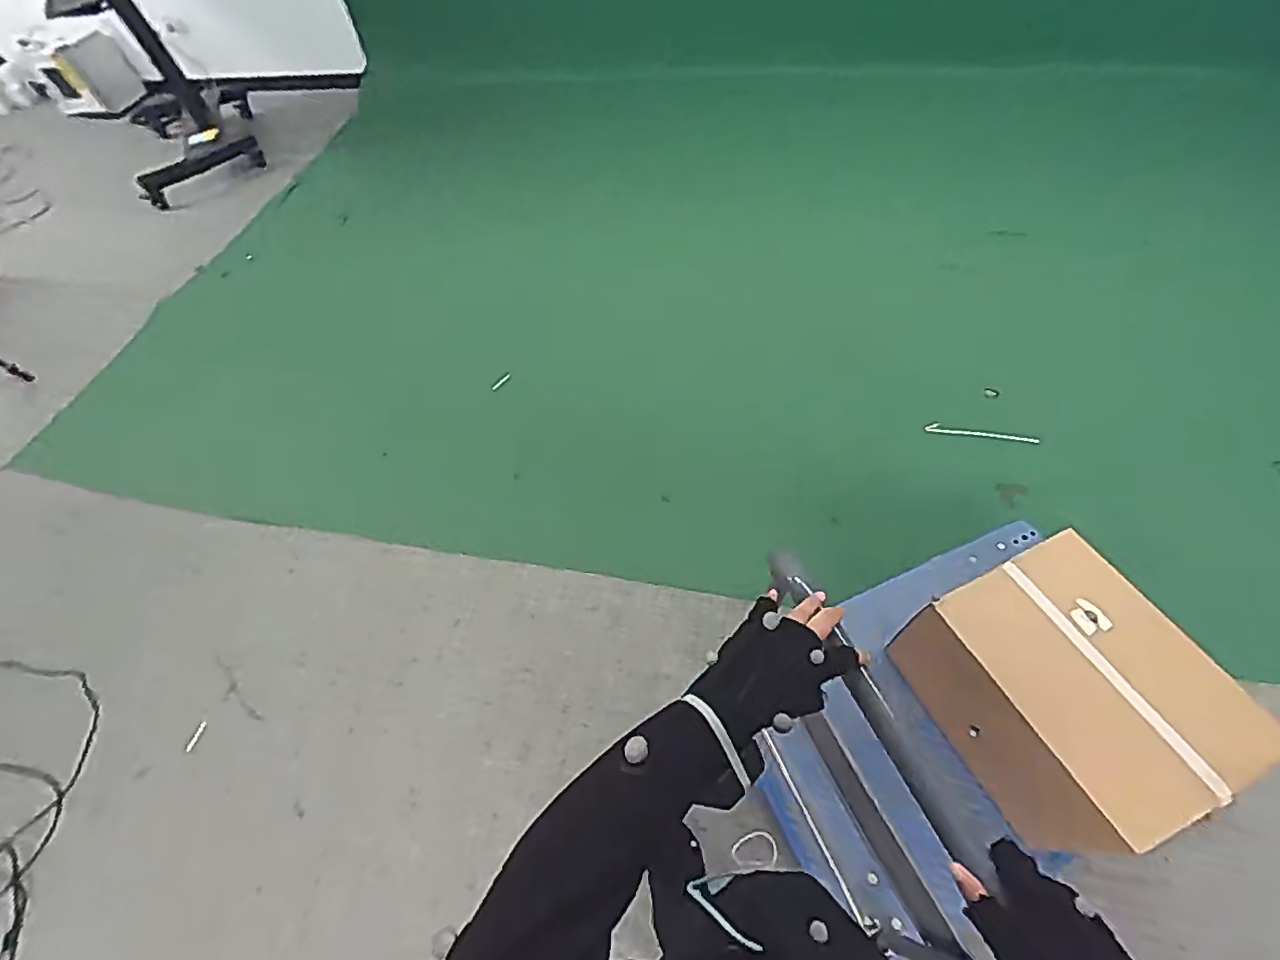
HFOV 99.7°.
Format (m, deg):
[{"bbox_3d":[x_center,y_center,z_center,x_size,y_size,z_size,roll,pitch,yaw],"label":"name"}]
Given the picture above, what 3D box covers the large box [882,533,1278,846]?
[{"bbox_3d":[0.736,0.383,0.997,0.320,0.320,0.408,-24,57,-9],"label":"large box"}]
